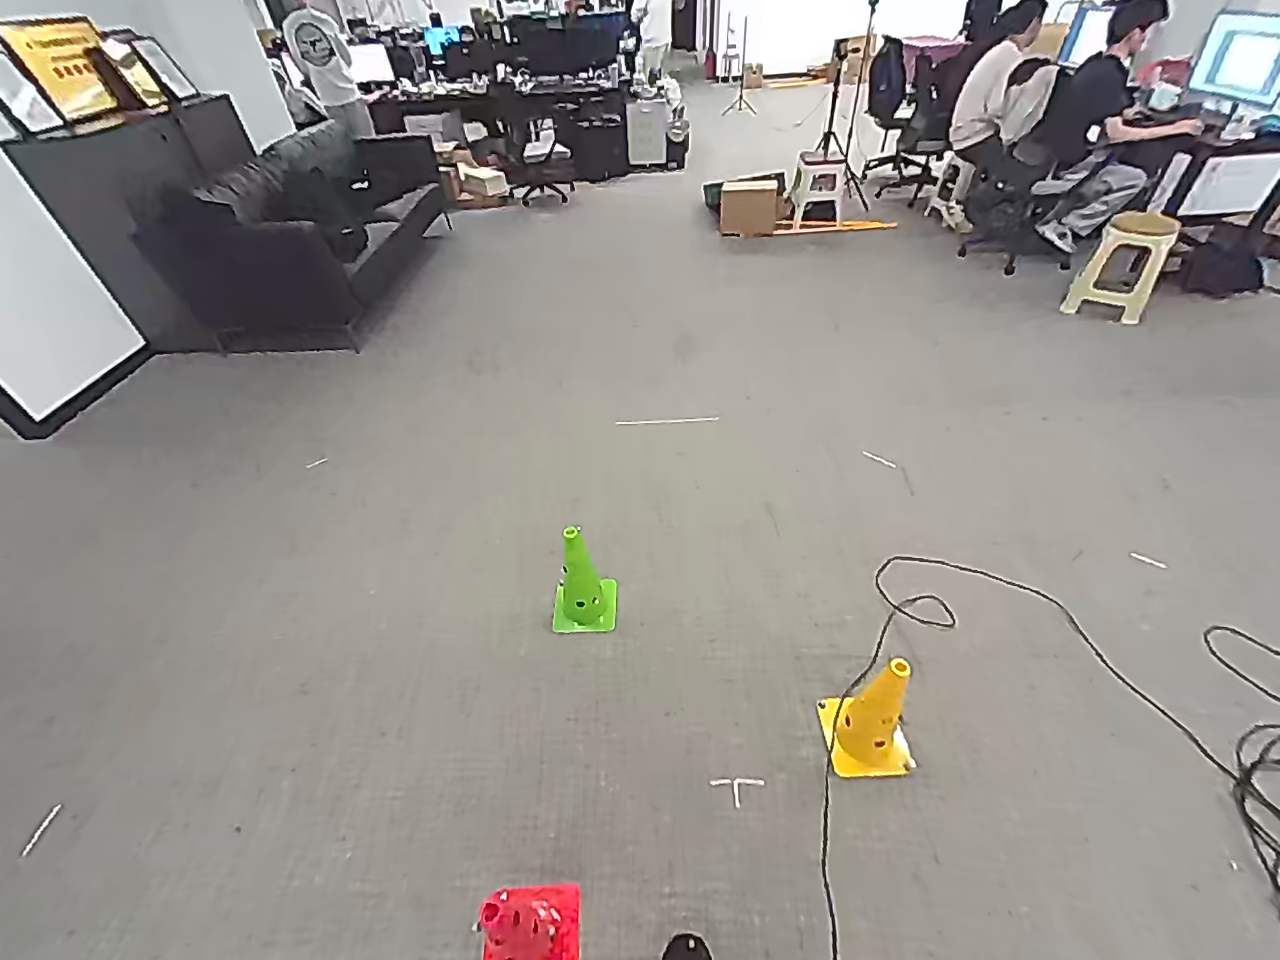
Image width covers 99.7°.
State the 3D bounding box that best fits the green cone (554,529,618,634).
[{"bbox_3d":[-0.180,0.285,1.642,0.202,0.368,0.200,-2,43,1],"label":"green cone"}]

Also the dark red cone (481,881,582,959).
[{"bbox_3d":[-0.230,0.840,1.003,0.202,0.394,0.201,-5,44,-1],"label":"dark red cone"}]
